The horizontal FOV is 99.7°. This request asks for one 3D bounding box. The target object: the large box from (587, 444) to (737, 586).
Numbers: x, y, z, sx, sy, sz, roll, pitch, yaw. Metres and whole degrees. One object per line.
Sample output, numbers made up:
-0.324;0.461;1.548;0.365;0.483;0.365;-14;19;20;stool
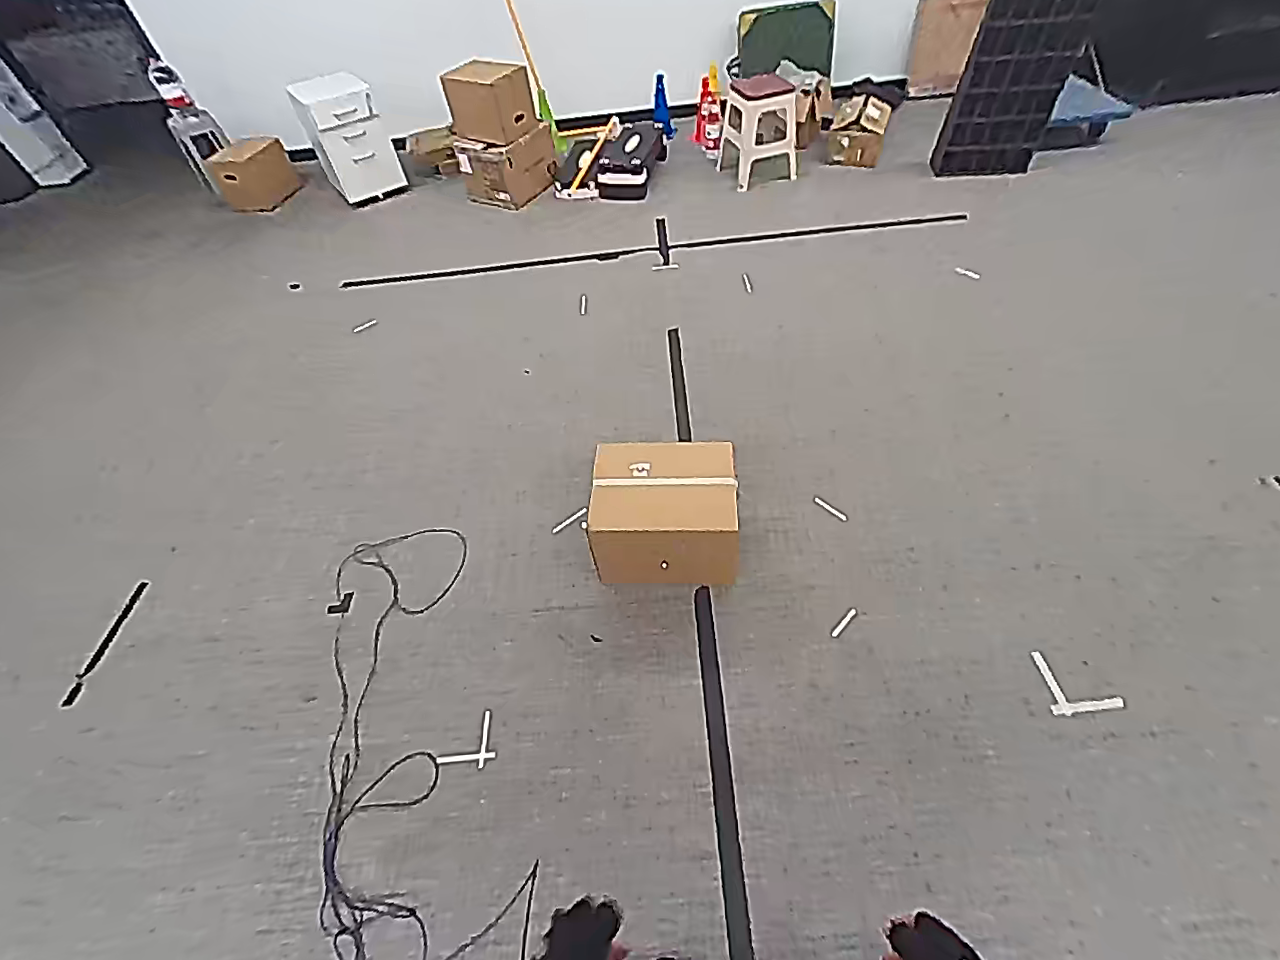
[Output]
0.075;0.113;1.633;0.408;0.320;0.320;-1;51;6;large box
